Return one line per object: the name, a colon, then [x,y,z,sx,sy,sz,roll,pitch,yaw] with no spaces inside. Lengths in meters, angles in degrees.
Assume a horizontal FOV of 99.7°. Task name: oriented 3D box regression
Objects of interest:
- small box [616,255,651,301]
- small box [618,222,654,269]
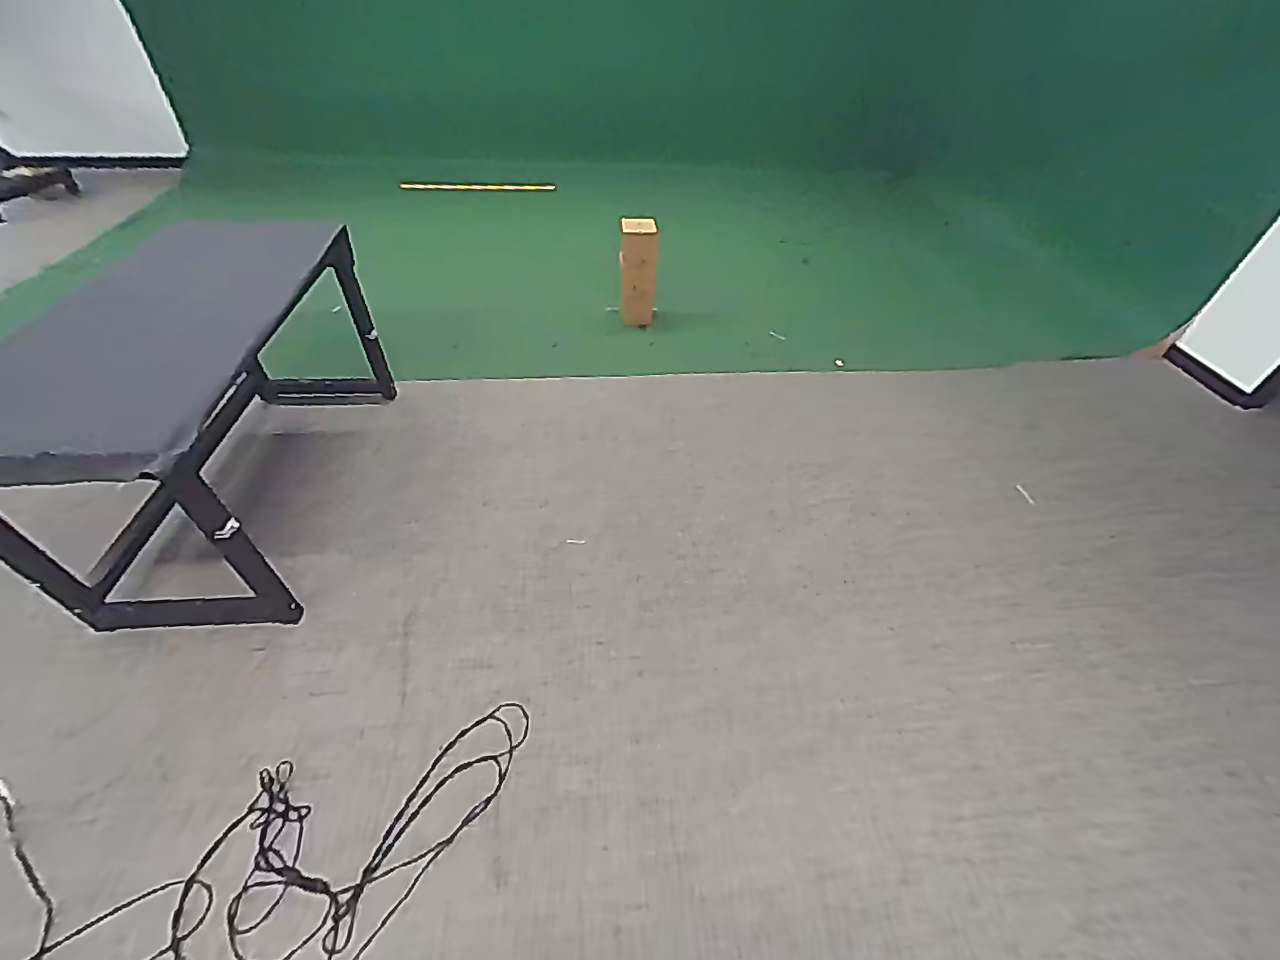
small box: [-0.040,-1.063,2.840,0.168,0.176,0.179,-2,45,-7]
small box: [-0.024,-1.184,2.728,0.168,0.176,0.179,-1,45,-6]
